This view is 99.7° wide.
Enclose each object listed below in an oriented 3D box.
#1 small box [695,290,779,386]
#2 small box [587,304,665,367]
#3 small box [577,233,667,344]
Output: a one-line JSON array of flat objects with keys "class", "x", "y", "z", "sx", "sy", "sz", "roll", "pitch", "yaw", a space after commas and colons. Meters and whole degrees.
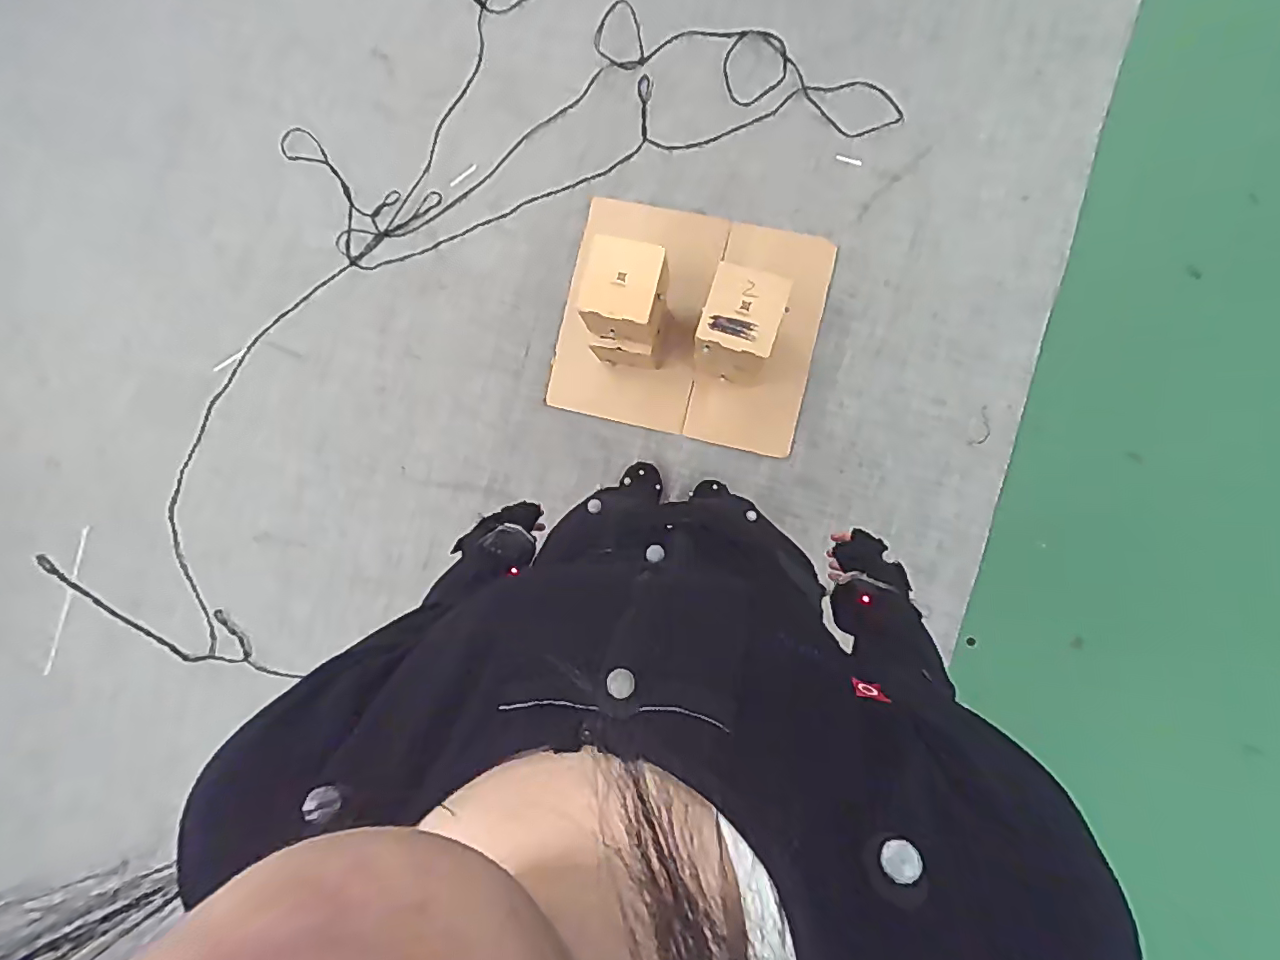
[{"class": "small box", "x": 0.243, "y": -0.359, "z": 1.397, "sx": 0.168, "sy": 0.176, "sz": 0.179, "roll": 18, "pitch": 91, "yaw": 7}, {"class": "small box", "x": -0.030, "y": -0.407, "z": 1.423, "sx": 0.168, "sy": 0.176, "sz": 0.179, "roll": 11, "pitch": 90, "yaw": 6}, {"class": "small box", "x": -0.035, "y": -0.438, "z": 1.260, "sx": 0.168, "sy": 0.176, "sz": 0.179, "roll": 14, "pitch": 90, "yaw": 6}]
